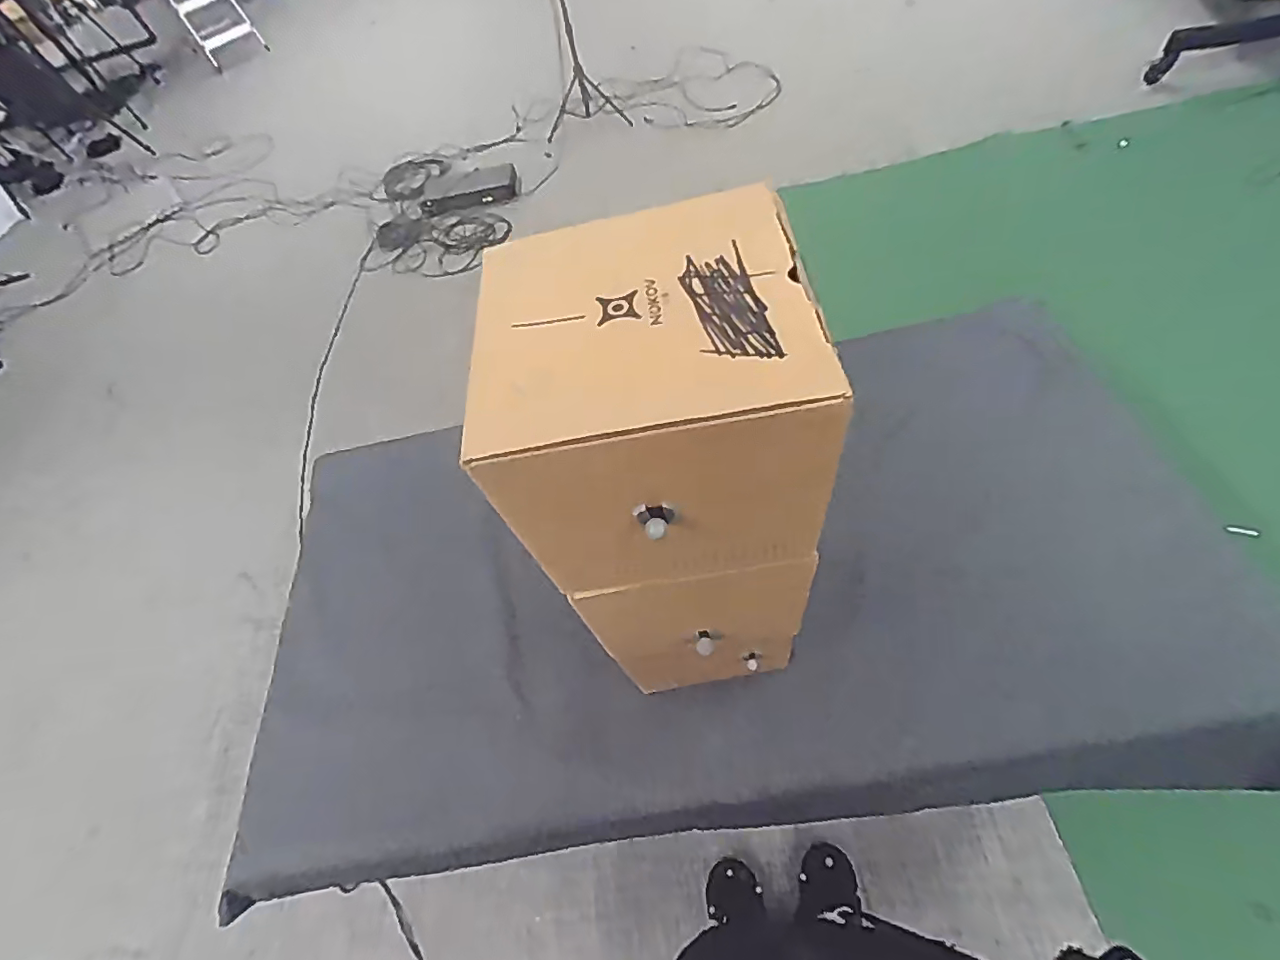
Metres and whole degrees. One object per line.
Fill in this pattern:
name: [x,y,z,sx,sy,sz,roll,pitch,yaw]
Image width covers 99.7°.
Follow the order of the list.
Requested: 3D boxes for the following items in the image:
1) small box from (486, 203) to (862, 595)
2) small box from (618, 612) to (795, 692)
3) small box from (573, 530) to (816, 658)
small box: [0.014,-0.041,0.352,0.179,0.176,0.168,-11,56,2]
small box: [0.066,0.132,0.626,0.179,0.176,0.168,-14,55,4]
small box: [0.040,0.048,0.489,0.179,0.176,0.168,-10,56,4]
